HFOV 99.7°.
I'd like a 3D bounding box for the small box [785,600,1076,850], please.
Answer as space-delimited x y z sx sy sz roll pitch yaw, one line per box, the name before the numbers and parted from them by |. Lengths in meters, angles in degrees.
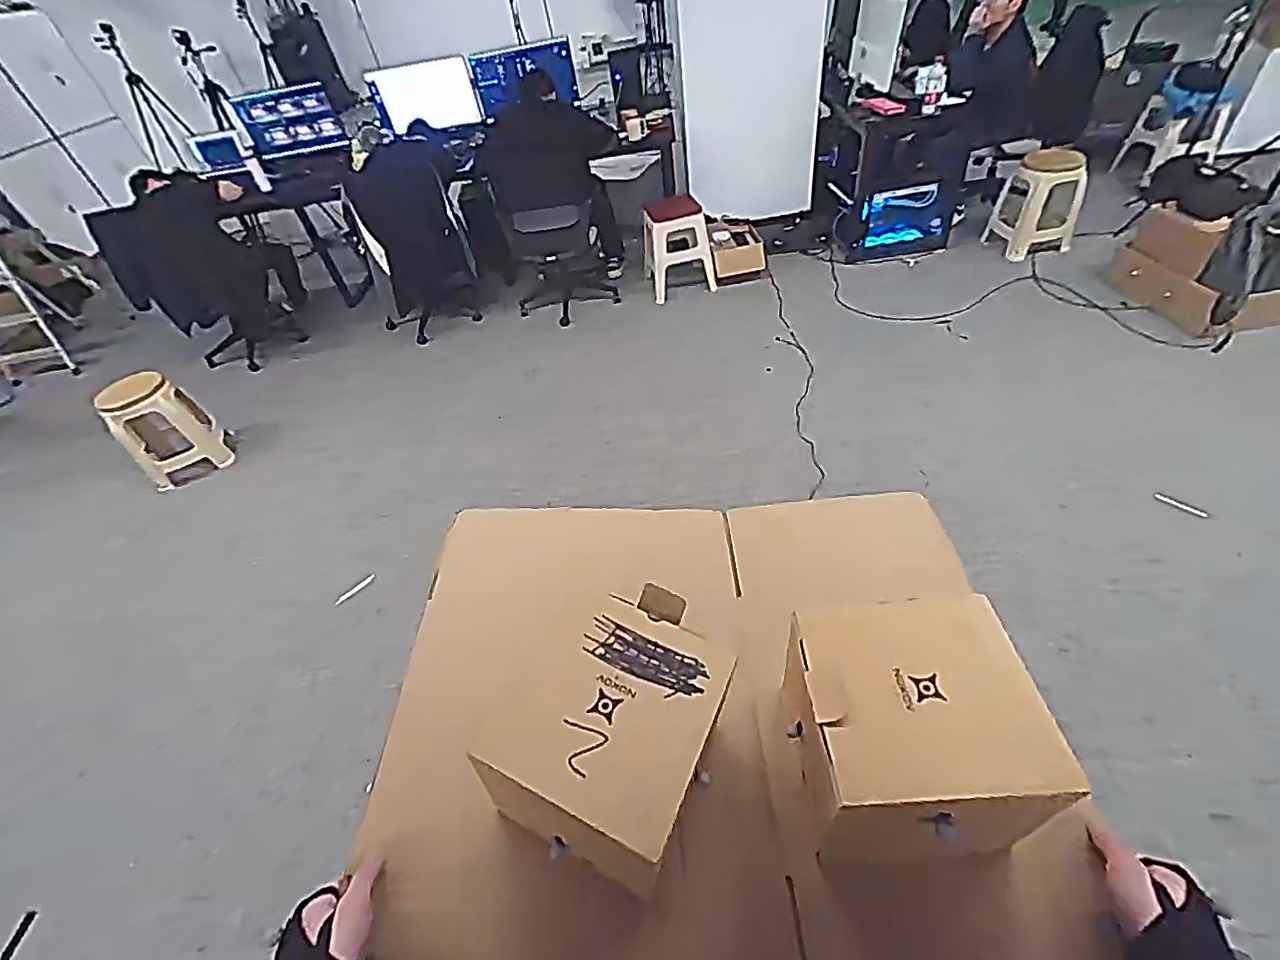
small box | 0.243 0.234 0.511 0.179 0.176 0.168 -7 44 5
